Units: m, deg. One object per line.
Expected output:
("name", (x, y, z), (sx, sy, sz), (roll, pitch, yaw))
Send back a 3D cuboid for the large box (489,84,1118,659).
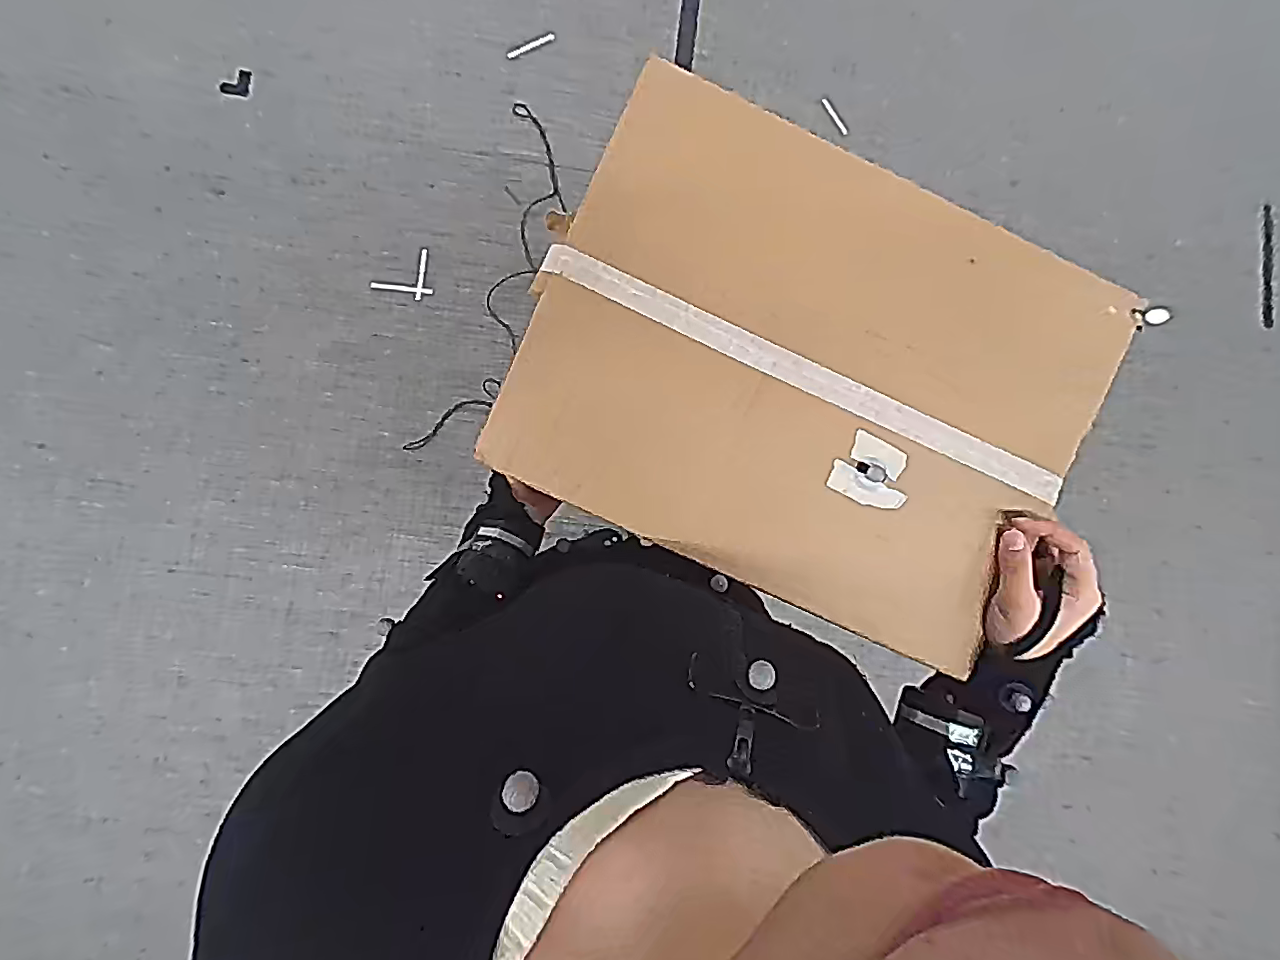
("large box", (0.118, -0.080, 0.551), (0.408, 0.320, 0.320), (23, 92, -4))
